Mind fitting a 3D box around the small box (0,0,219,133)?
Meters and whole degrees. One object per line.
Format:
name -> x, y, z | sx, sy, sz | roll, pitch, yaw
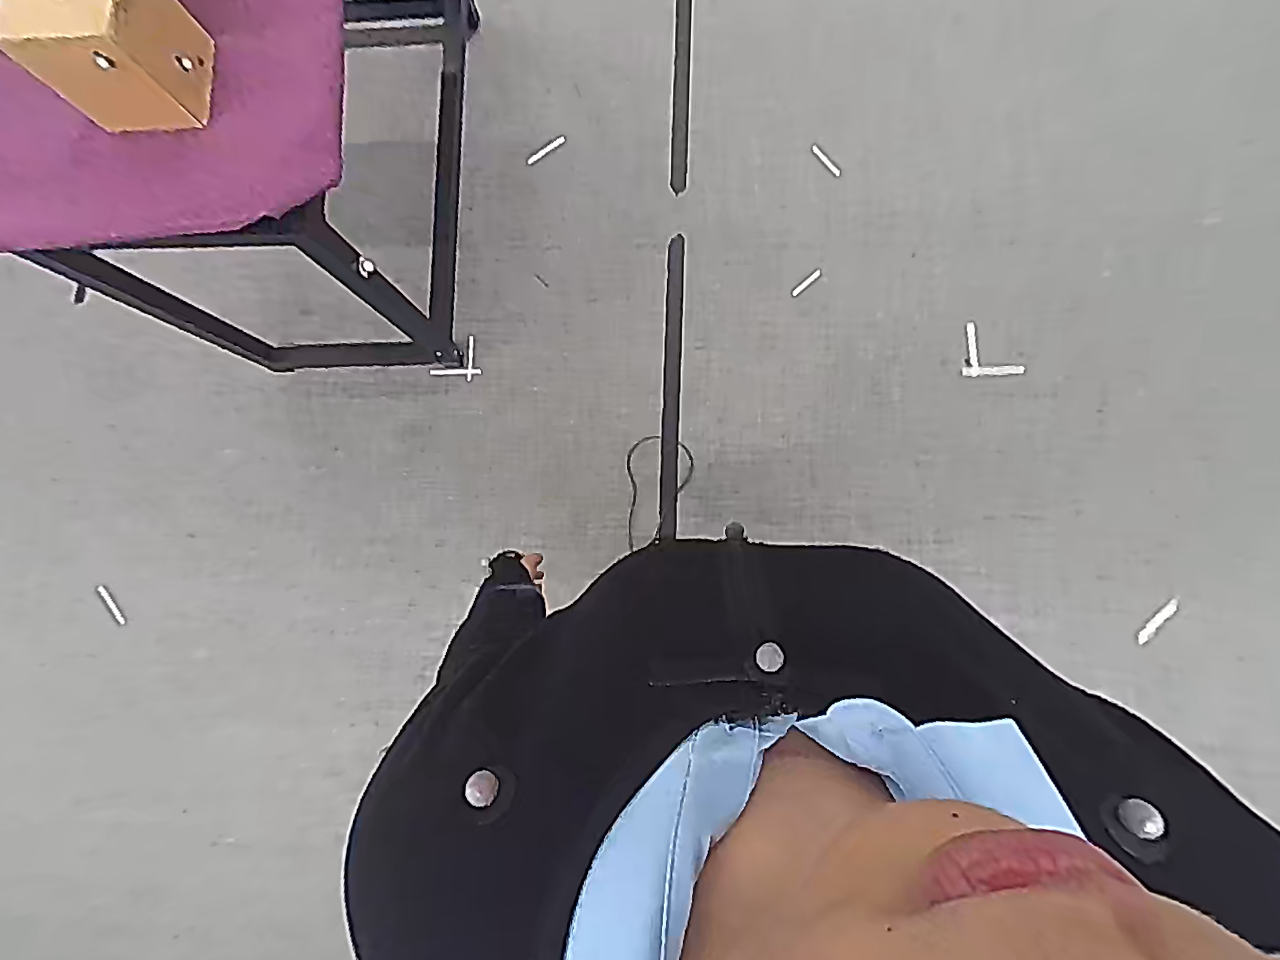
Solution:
small box -> -0.819, -0.680, 0.848 | 0.179, 0.176, 0.168 | -2, 82, 1
